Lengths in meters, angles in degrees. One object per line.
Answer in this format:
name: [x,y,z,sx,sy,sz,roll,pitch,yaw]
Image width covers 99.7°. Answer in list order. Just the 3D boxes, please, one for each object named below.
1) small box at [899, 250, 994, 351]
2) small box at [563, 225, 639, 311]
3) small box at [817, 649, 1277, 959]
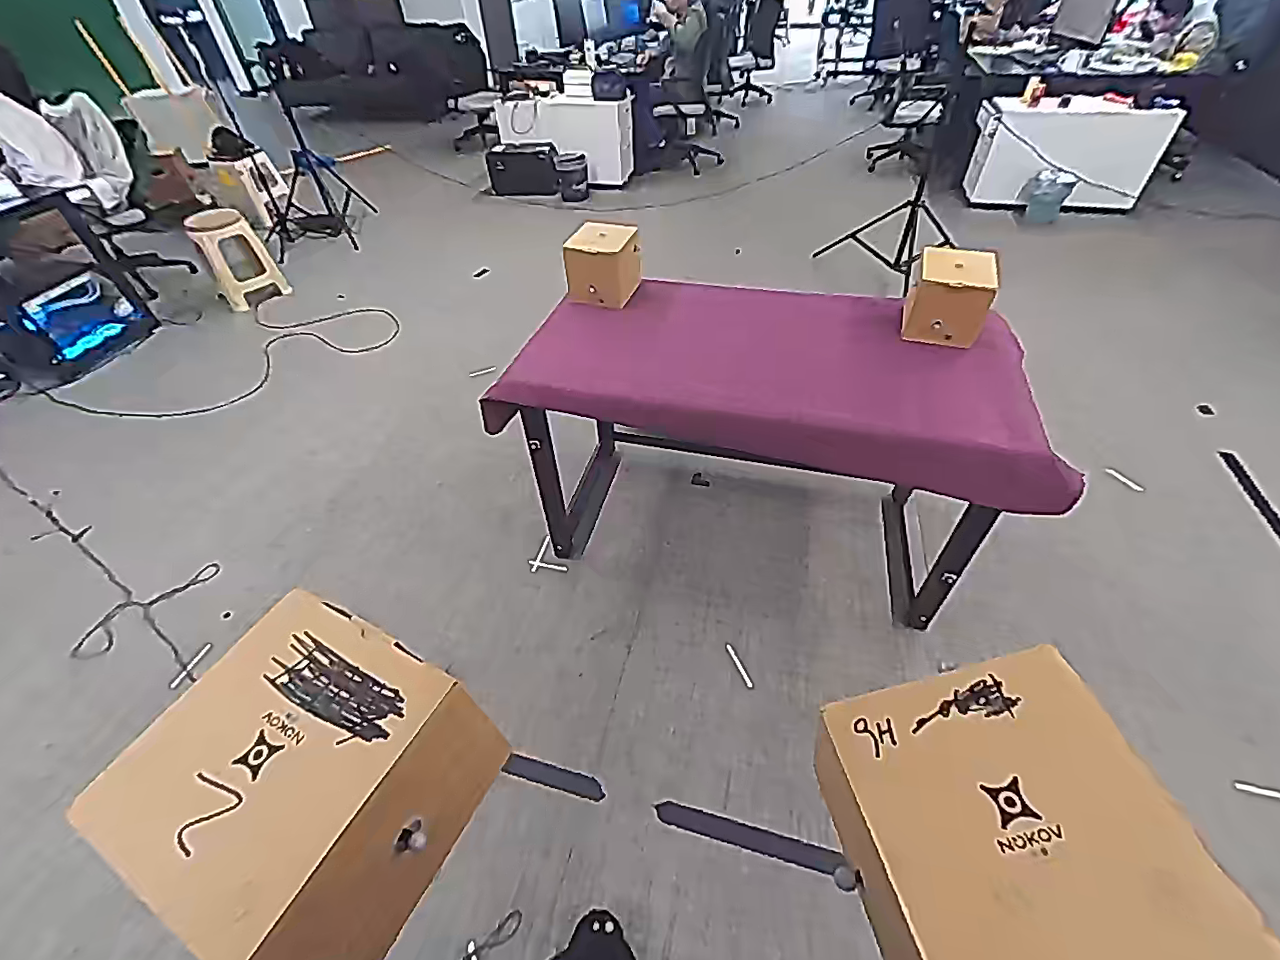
small box: [0.773,-0.457,1.377,0.168,0.176,0.179,13,52,15]
small box: [-0.107,-0.617,1.575,0.168,0.176,0.179,13,49,15]
small box: [0.236,0.249,0.377,0.168,0.176,0.179,-16,49,2]
